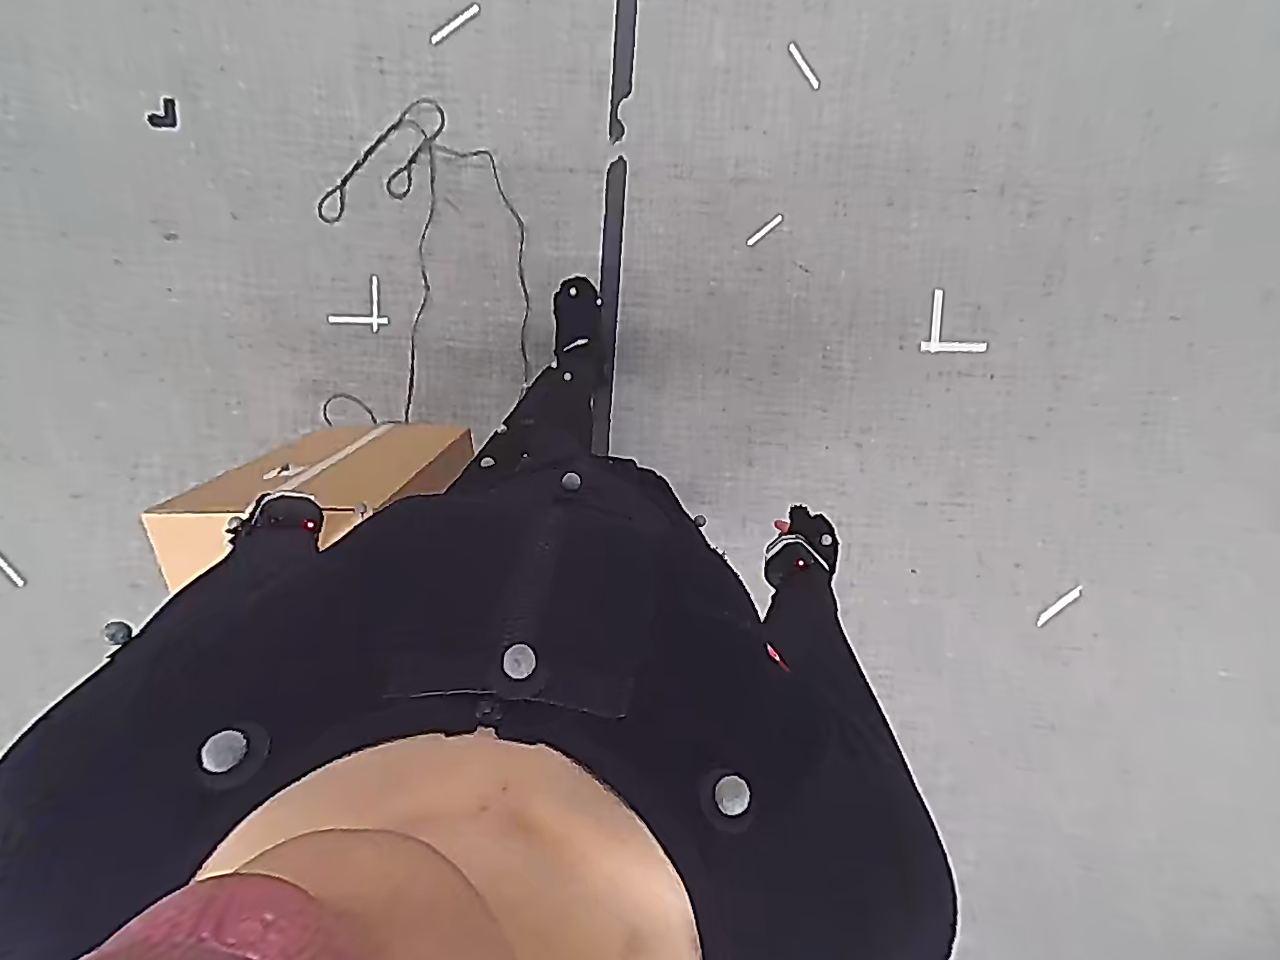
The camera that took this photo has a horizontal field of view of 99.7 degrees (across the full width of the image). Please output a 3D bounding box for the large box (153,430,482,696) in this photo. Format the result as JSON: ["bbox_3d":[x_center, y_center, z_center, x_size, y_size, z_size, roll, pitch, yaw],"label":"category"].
[{"bbox_3d":[-0.495,0.115,0.951,0.320,0.408,0.320,-2,111,1],"label":"large box"}]
